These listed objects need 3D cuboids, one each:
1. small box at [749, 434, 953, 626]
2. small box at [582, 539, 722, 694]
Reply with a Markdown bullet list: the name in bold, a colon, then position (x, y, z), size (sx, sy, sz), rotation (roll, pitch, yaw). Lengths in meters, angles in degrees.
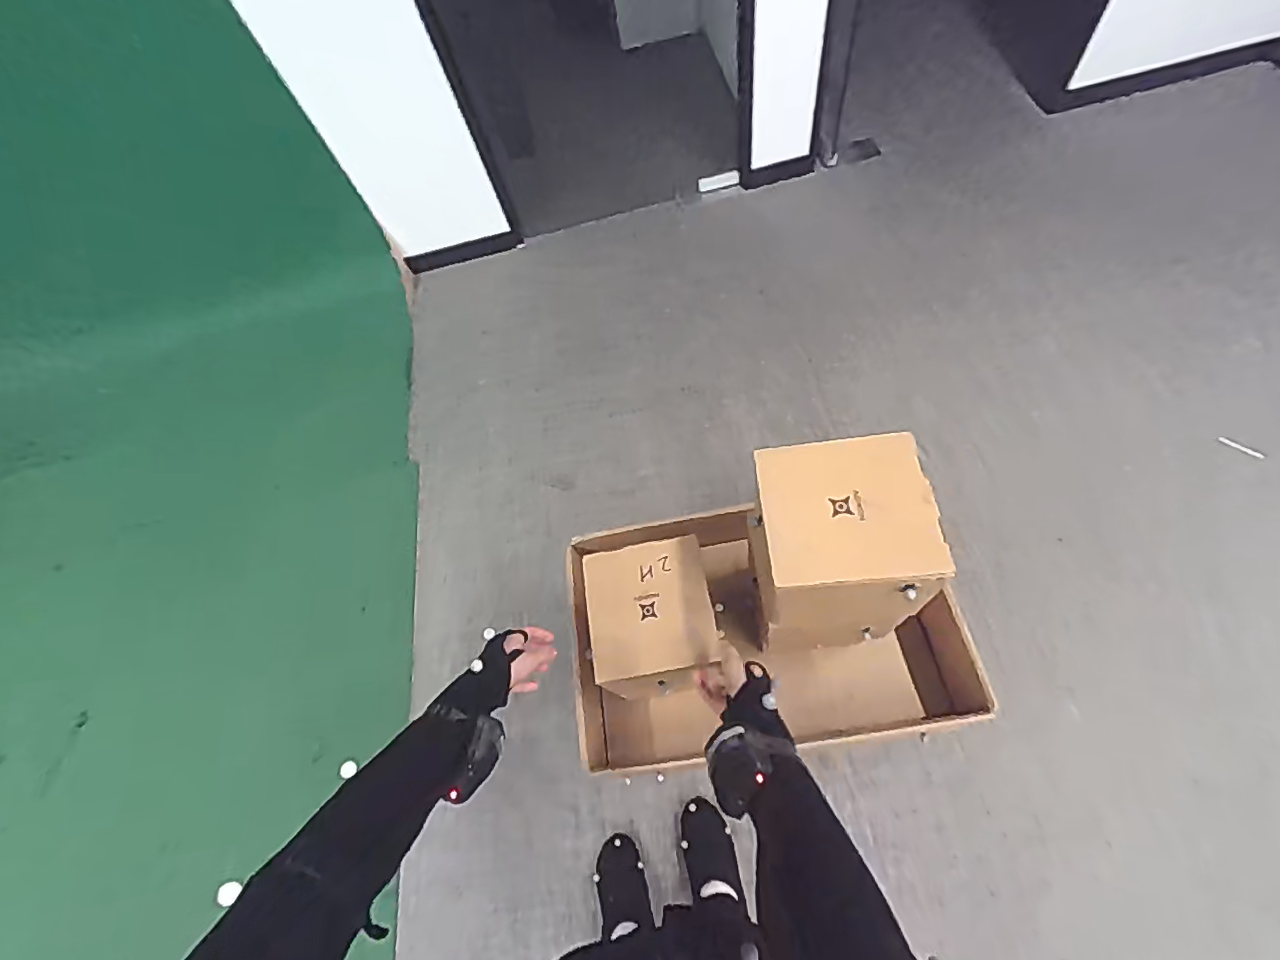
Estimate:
- **small box**: position (0.228, 0.068, 0.633), size (0.179, 0.176, 0.168), rotation (-7, 62, 8)
- **small box**: position (0.022, 0.206, 0.782), size (0.168, 0.176, 0.179), rotation (-11, 62, 4)
